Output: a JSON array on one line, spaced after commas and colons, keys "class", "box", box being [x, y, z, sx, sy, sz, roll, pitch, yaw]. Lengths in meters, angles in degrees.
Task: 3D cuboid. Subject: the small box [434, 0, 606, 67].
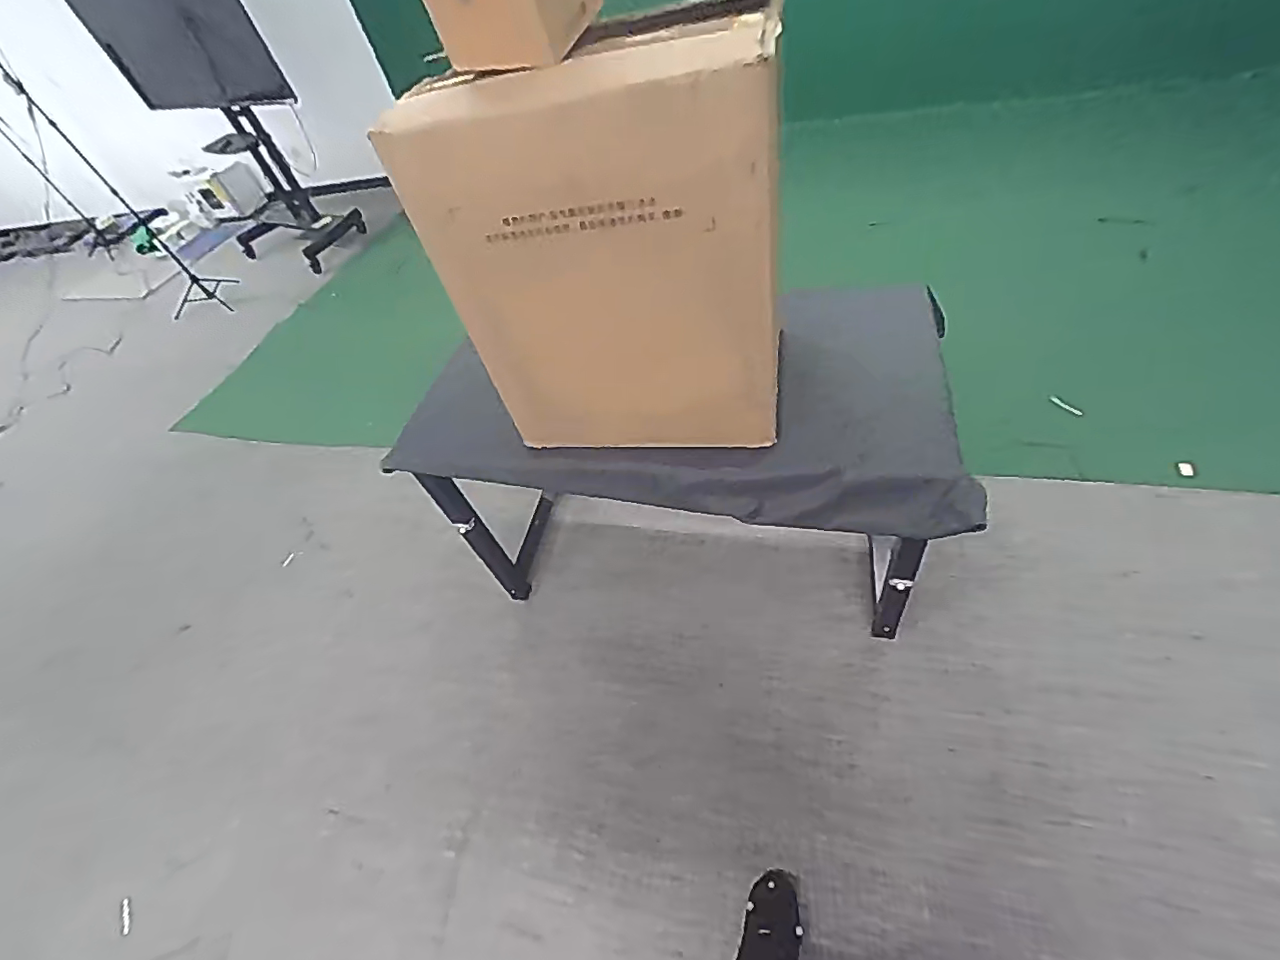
[{"class": "small box", "box": [-0.170, -0.675, 0.707, 0.179, 0.176, 0.168, 14, 67, 22]}]
